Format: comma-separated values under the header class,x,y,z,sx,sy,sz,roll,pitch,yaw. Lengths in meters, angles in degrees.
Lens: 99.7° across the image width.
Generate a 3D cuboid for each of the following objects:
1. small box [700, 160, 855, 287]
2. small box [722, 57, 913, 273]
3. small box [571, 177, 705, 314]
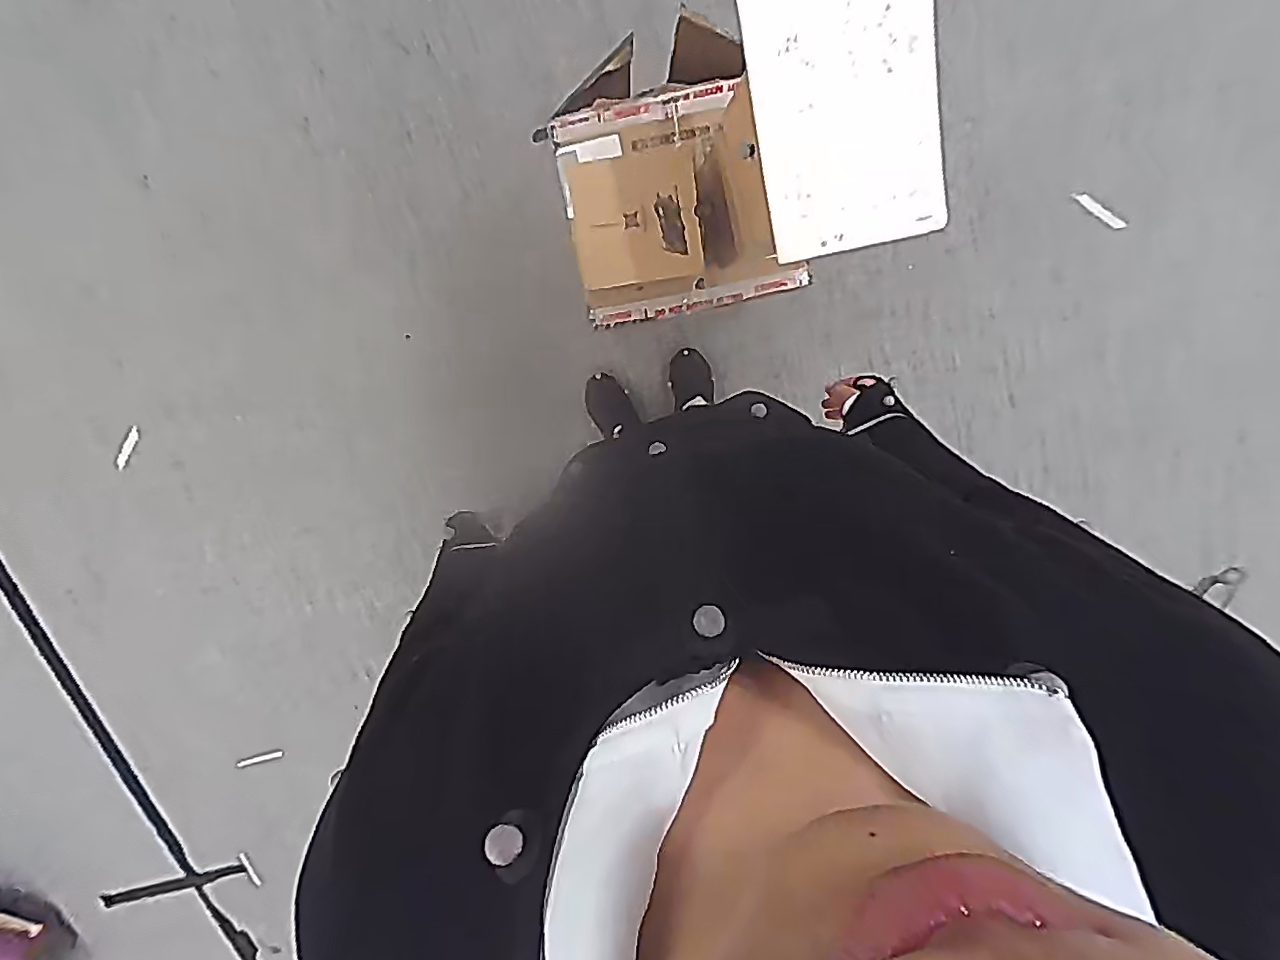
class,x,y,z,sx,sy,sz,roll,pitch,yaw
small box,0.207,-0.411,0.841,0.179,0.176,0.168,-17,105,1
small box,0.212,-0.378,0.683,0.168,0.176,0.179,-15,106,0
small box,-0.003,-0.357,0.849,0.179,0.176,0.168,-8,106,2
